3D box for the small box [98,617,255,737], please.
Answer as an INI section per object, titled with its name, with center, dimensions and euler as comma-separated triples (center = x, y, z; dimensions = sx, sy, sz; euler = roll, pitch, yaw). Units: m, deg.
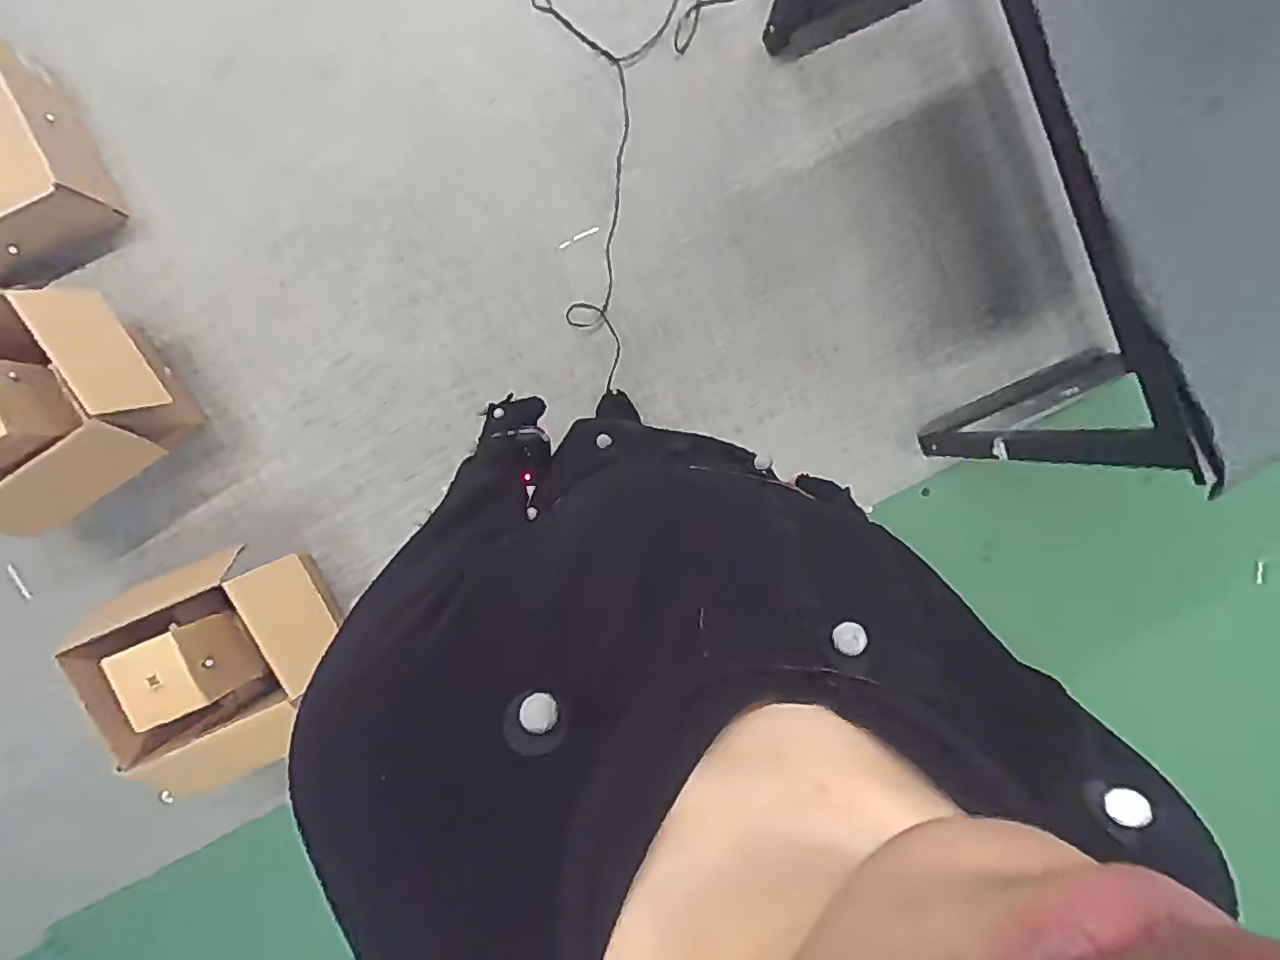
[small box]
center = -1.010, 0.421, 1.195
dimensions = 0.168, 0.176, 0.179
euler = -23, 94, 0
